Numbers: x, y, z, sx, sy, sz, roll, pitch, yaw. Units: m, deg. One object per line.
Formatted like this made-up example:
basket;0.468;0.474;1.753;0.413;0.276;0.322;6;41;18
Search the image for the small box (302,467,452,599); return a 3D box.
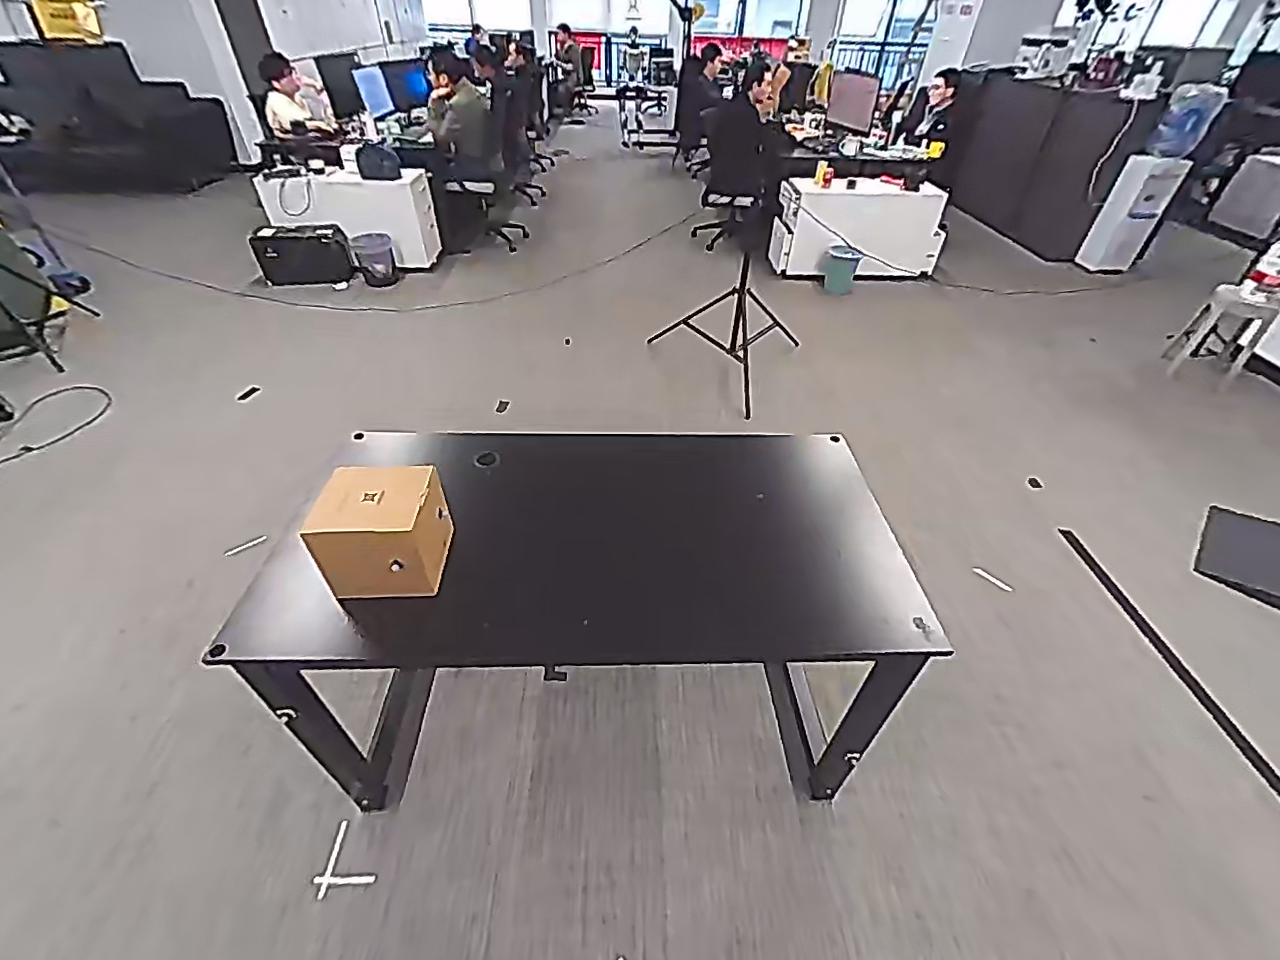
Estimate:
small box;-0.446;0.094;0.957;0.179;0.176;0.168;-2;40;-3
